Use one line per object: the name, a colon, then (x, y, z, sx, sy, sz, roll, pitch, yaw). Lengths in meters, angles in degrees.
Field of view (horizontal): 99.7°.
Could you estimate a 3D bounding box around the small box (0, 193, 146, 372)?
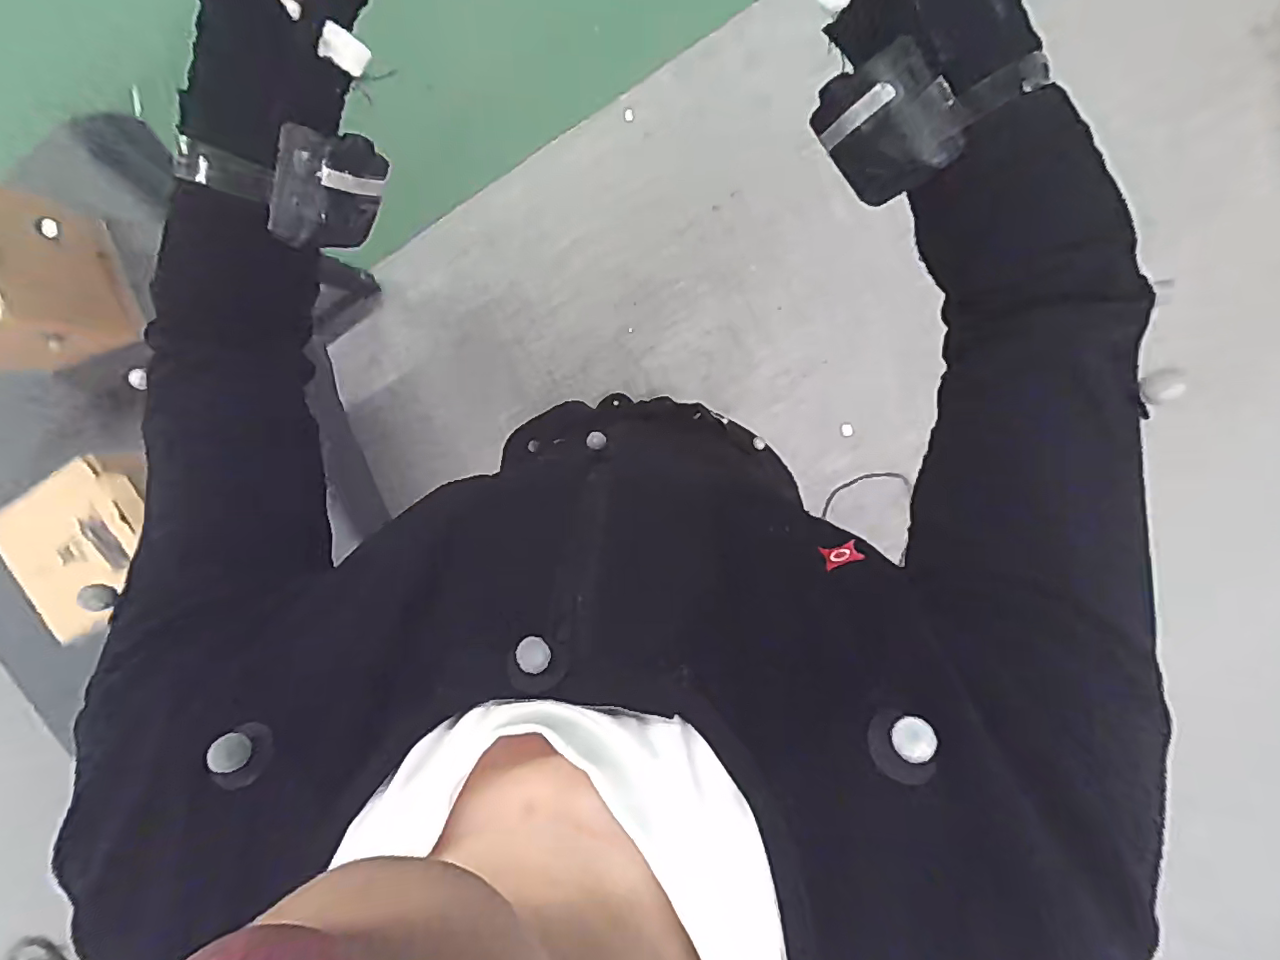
small box: (-0.786, -0.244, 0.684, 0.179, 0.176, 0.168, -18, 95, 9)
